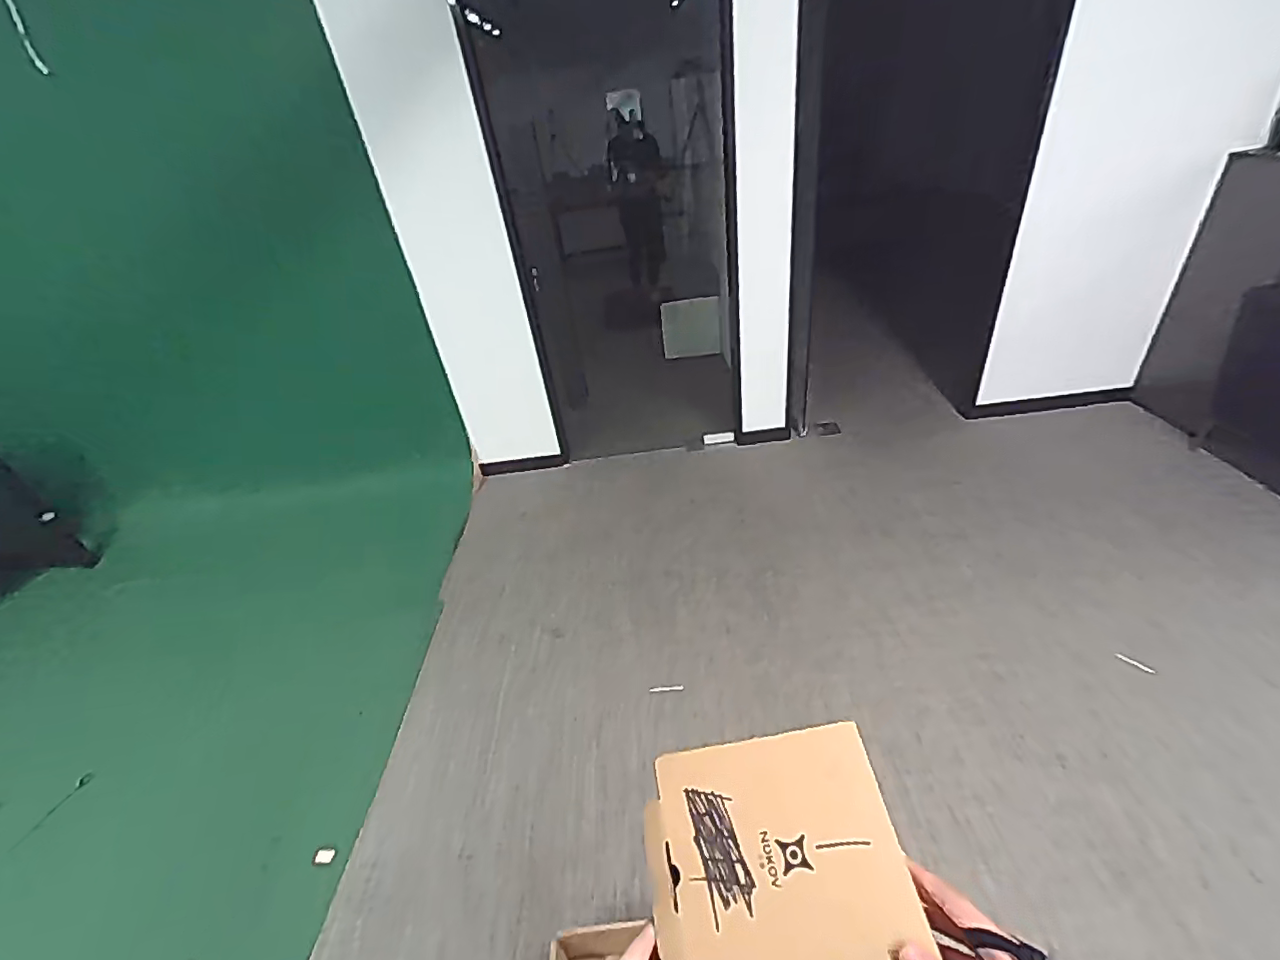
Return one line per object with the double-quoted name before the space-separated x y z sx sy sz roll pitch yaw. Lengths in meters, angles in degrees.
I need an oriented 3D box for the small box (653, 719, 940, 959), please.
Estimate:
"small box" 0.120 0.330 0.475 0.179 0.176 0.168 -13 53 2
